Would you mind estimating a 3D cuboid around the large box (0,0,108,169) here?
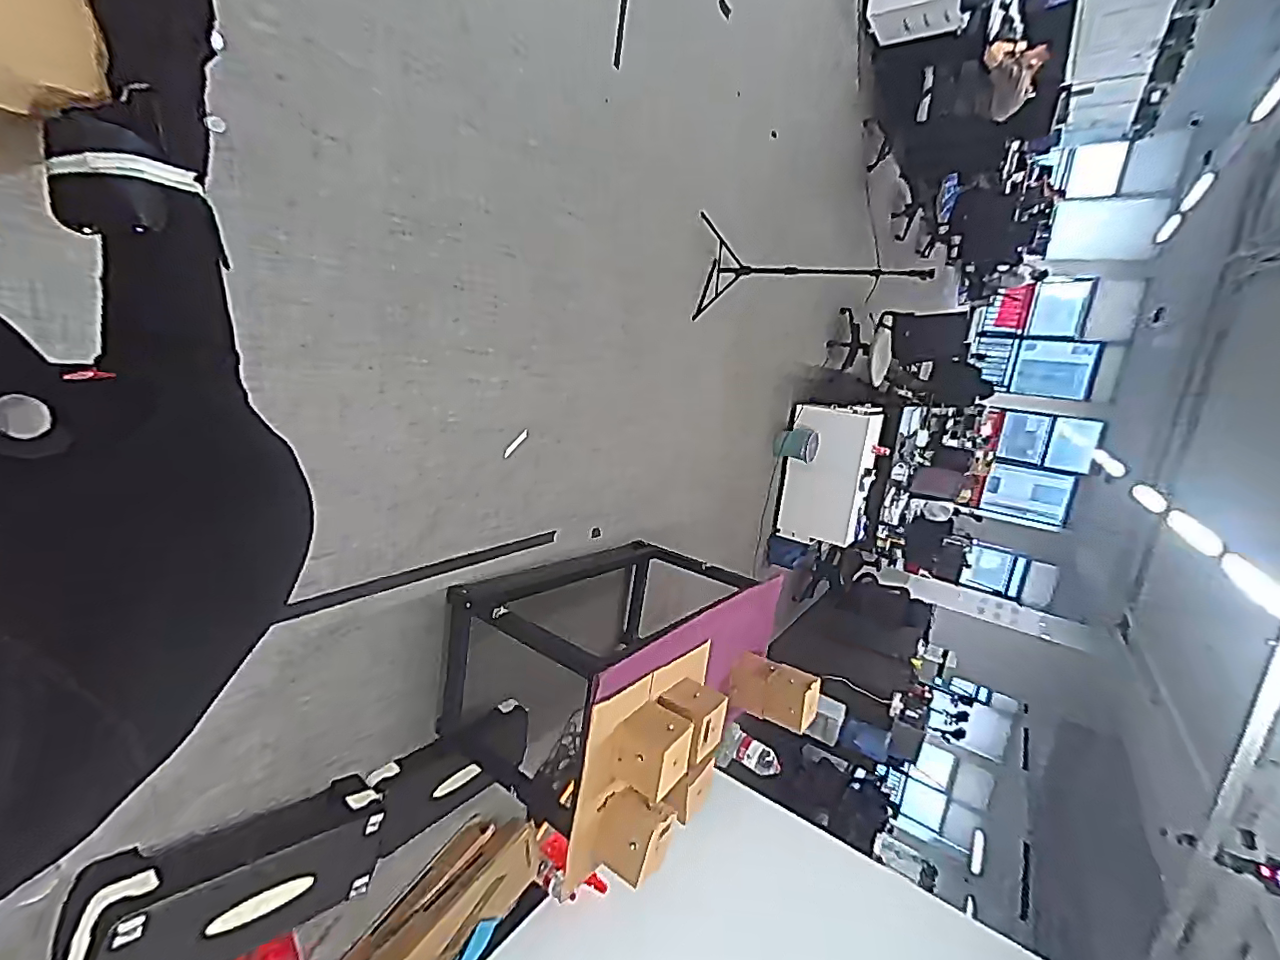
[{"bbox_3d":[-0.591,-0.384,0.252,0.408,0.320,0.320,-15,115,-58],"label":"large box"}]
